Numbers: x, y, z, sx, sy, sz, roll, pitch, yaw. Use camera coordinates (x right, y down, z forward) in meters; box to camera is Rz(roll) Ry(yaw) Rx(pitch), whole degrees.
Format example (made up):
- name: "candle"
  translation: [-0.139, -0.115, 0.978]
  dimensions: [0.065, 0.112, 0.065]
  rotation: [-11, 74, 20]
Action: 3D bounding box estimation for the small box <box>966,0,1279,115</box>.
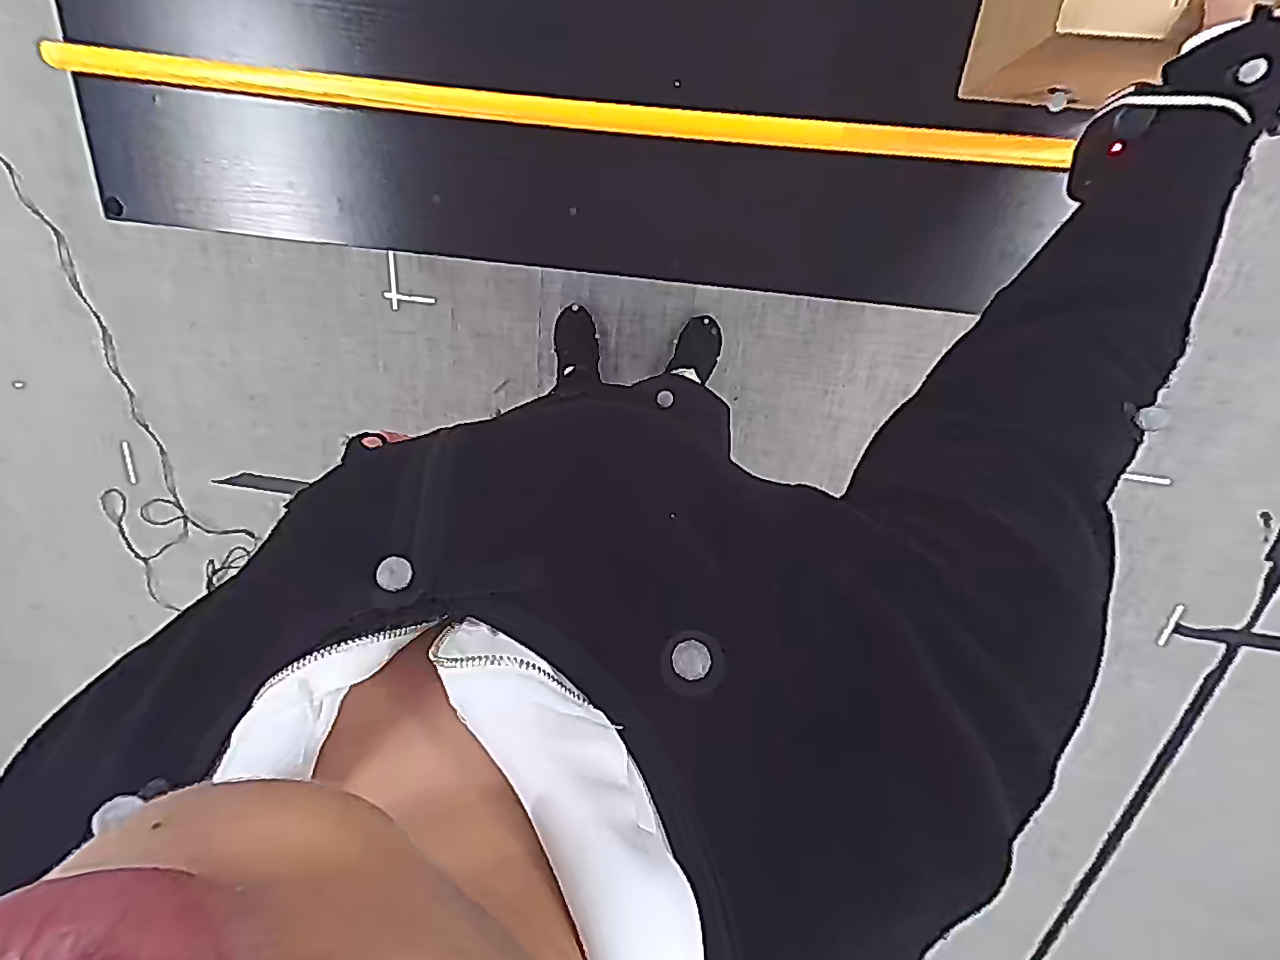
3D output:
- name: "small box"
  translation: [0.413, -0.440, 0.456]
  dimensions: [0.168, 0.176, 0.179]
  rotation: [8, 112, 3]
